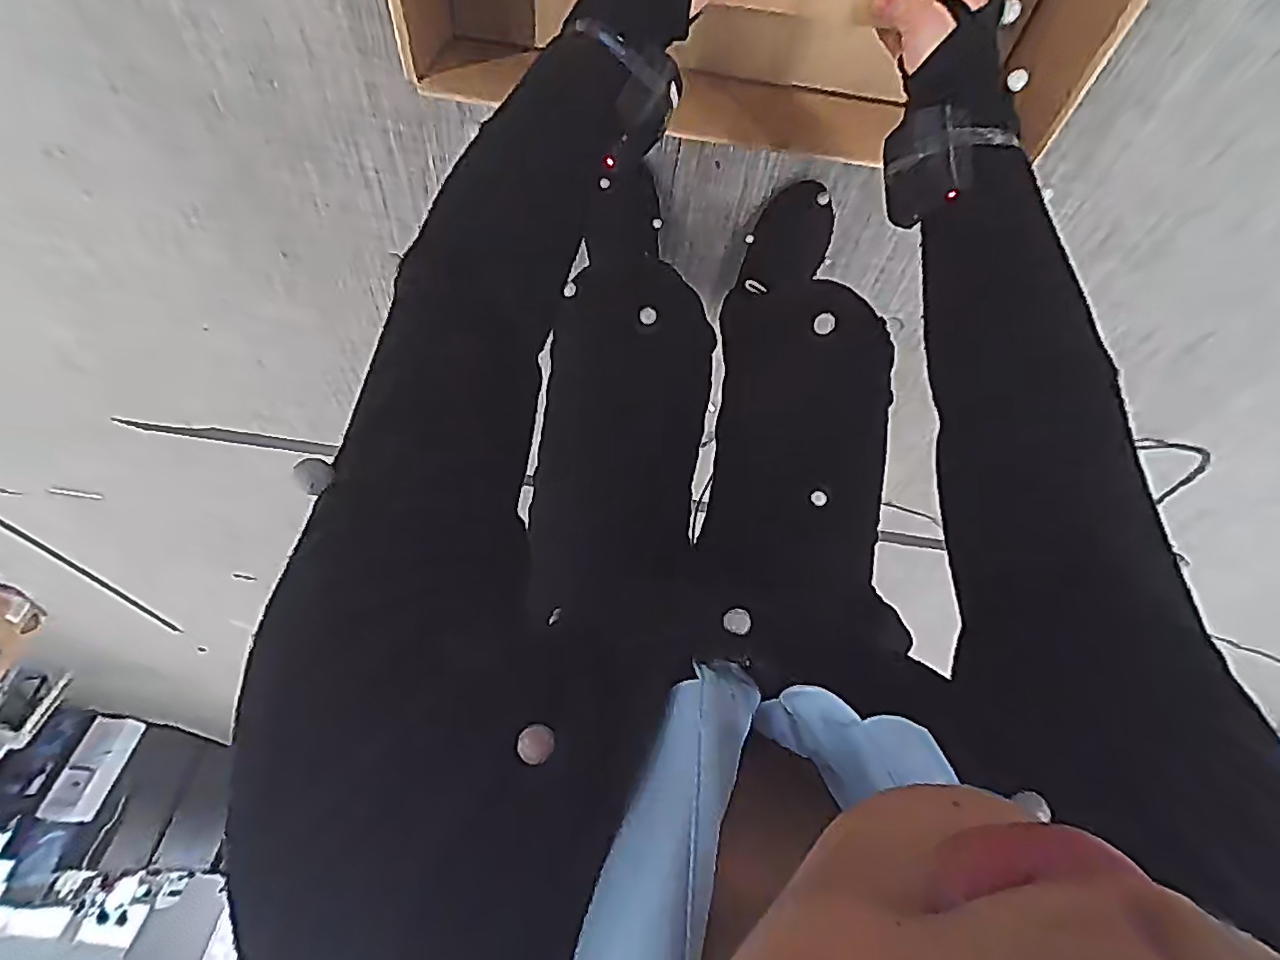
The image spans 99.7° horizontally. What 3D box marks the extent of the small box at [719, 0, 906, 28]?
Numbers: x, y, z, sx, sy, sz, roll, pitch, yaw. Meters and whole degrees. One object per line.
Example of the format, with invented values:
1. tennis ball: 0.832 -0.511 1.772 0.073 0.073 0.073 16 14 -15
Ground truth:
1. small box: 0.142 -0.486 0.406 0.168 0.176 0.179 7 144 -1
